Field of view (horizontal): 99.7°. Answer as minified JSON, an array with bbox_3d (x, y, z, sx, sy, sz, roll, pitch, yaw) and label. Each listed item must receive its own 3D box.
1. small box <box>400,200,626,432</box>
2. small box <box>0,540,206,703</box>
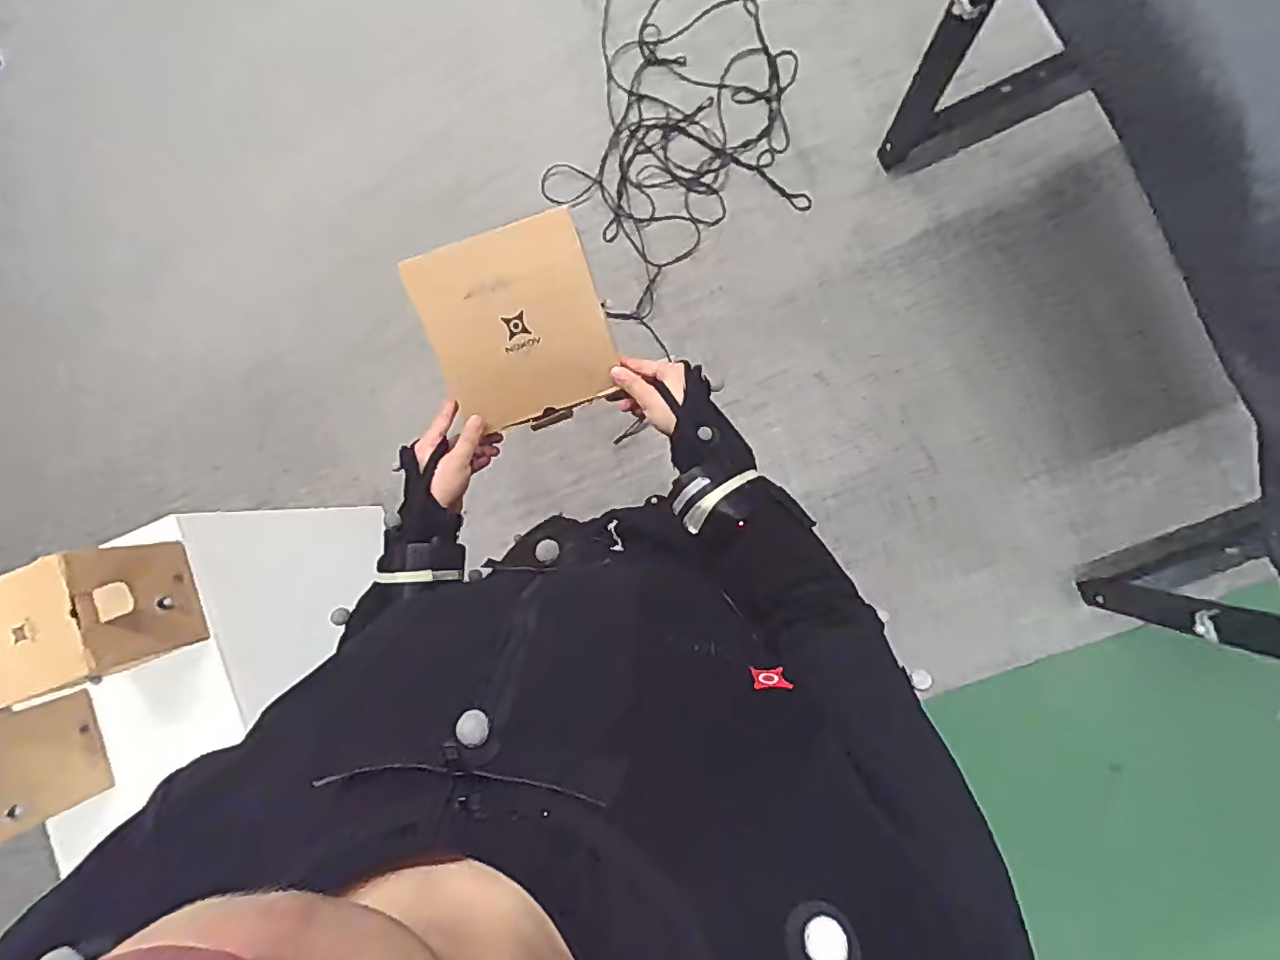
[{"bbox_3d":[-0.118,-0.175,0.580,0.168,0.176,0.179,-18,110,2],"label":"small box"},{"bbox_3d":[-0.791,0.195,0.781,0.179,0.176,0.168,-21,86,7],"label":"small box"}]
